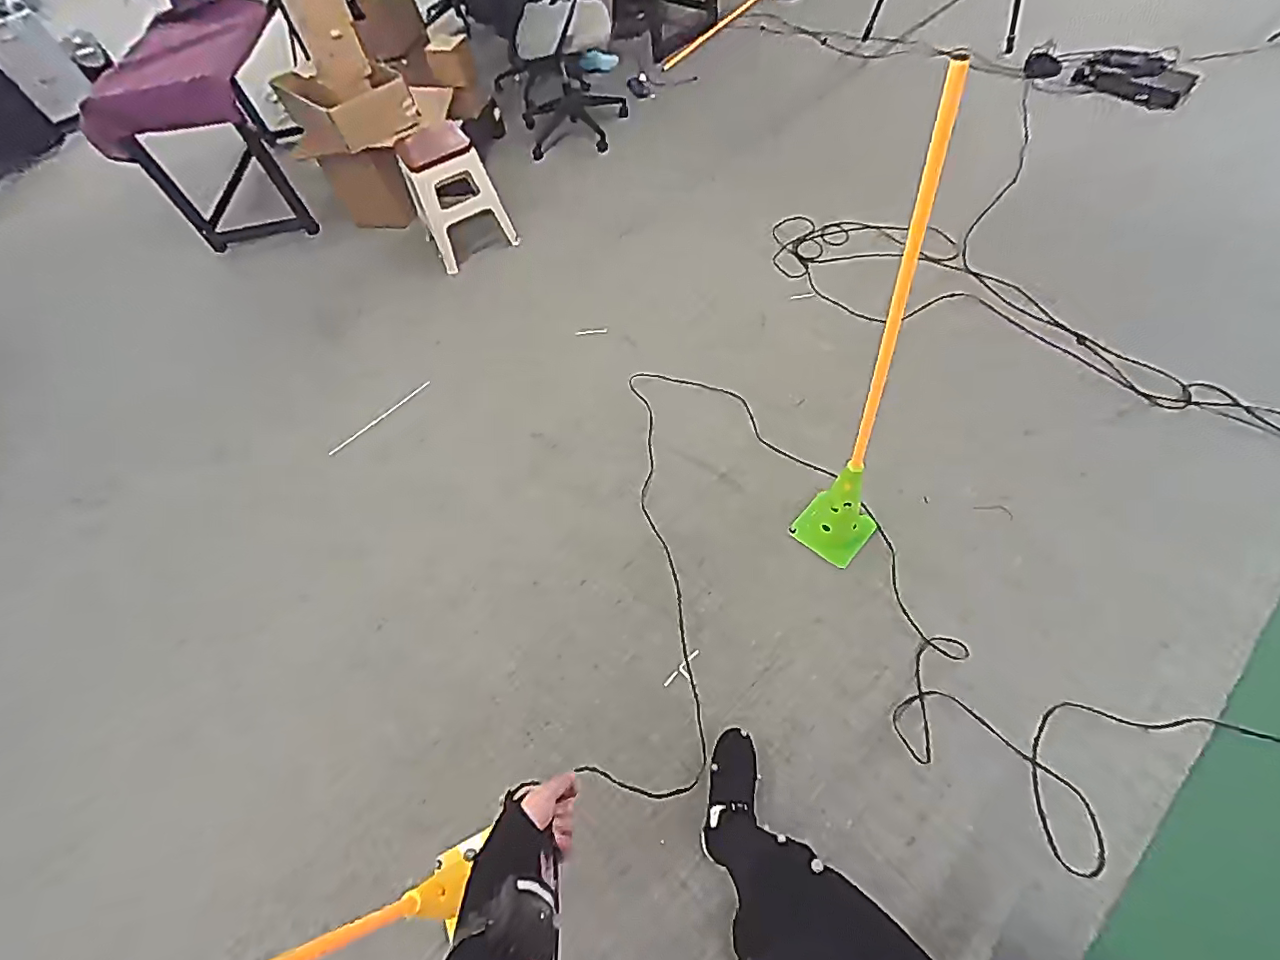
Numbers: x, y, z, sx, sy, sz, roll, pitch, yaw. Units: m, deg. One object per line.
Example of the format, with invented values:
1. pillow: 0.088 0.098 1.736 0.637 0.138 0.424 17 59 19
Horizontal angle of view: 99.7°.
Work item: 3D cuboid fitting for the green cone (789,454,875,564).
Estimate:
1. green cone: 0.570 0.048 1.513 0.200 0.368 0.202 36 68 25
